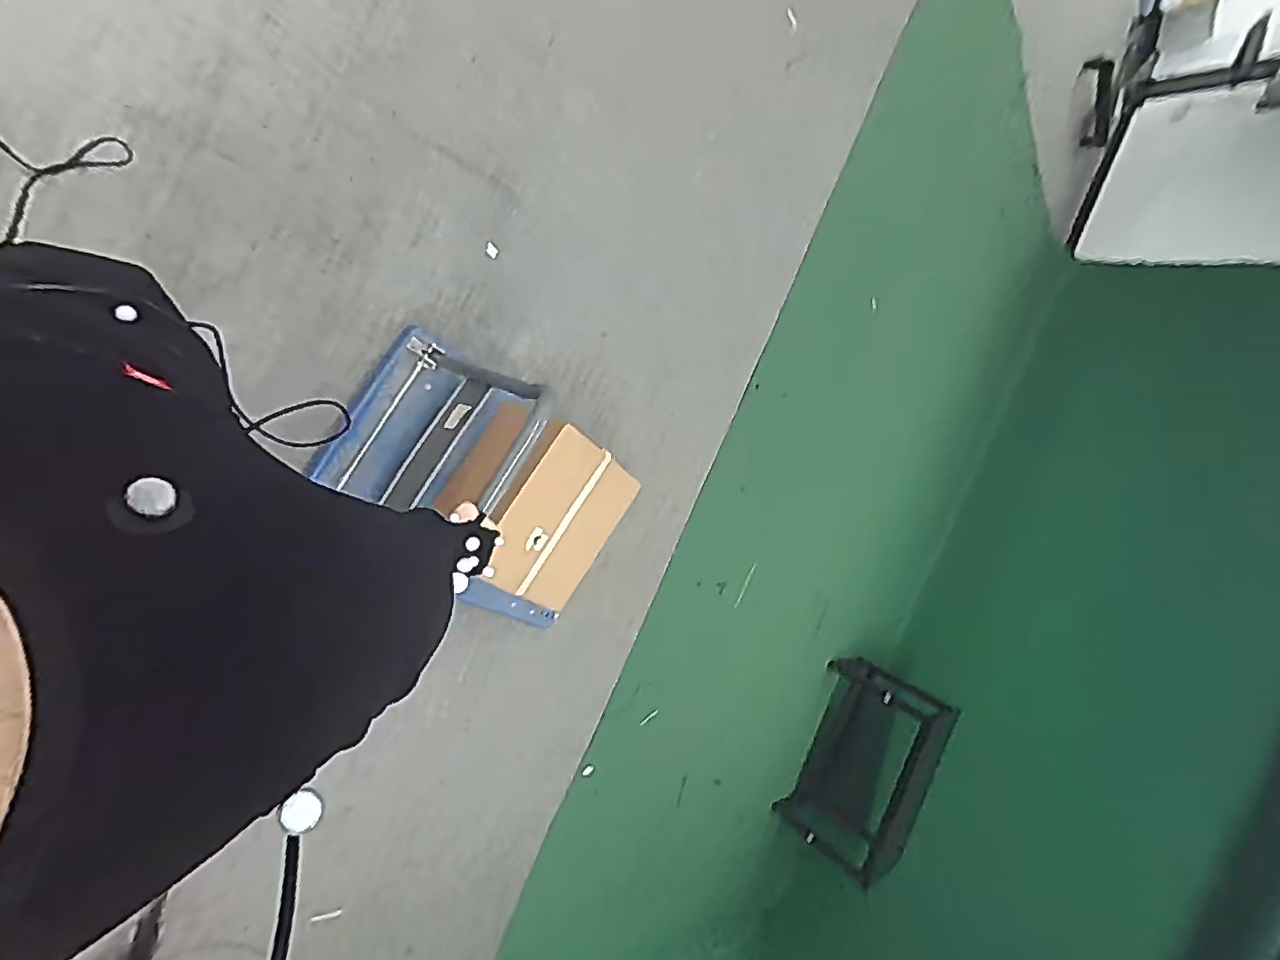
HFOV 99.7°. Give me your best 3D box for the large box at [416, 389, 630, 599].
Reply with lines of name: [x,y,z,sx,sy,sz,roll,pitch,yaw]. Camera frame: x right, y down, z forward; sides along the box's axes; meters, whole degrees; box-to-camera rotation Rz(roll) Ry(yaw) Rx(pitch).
large box: [-0.306,0.030,1.424,0.320,0.320,0.408,39,80,-43]
